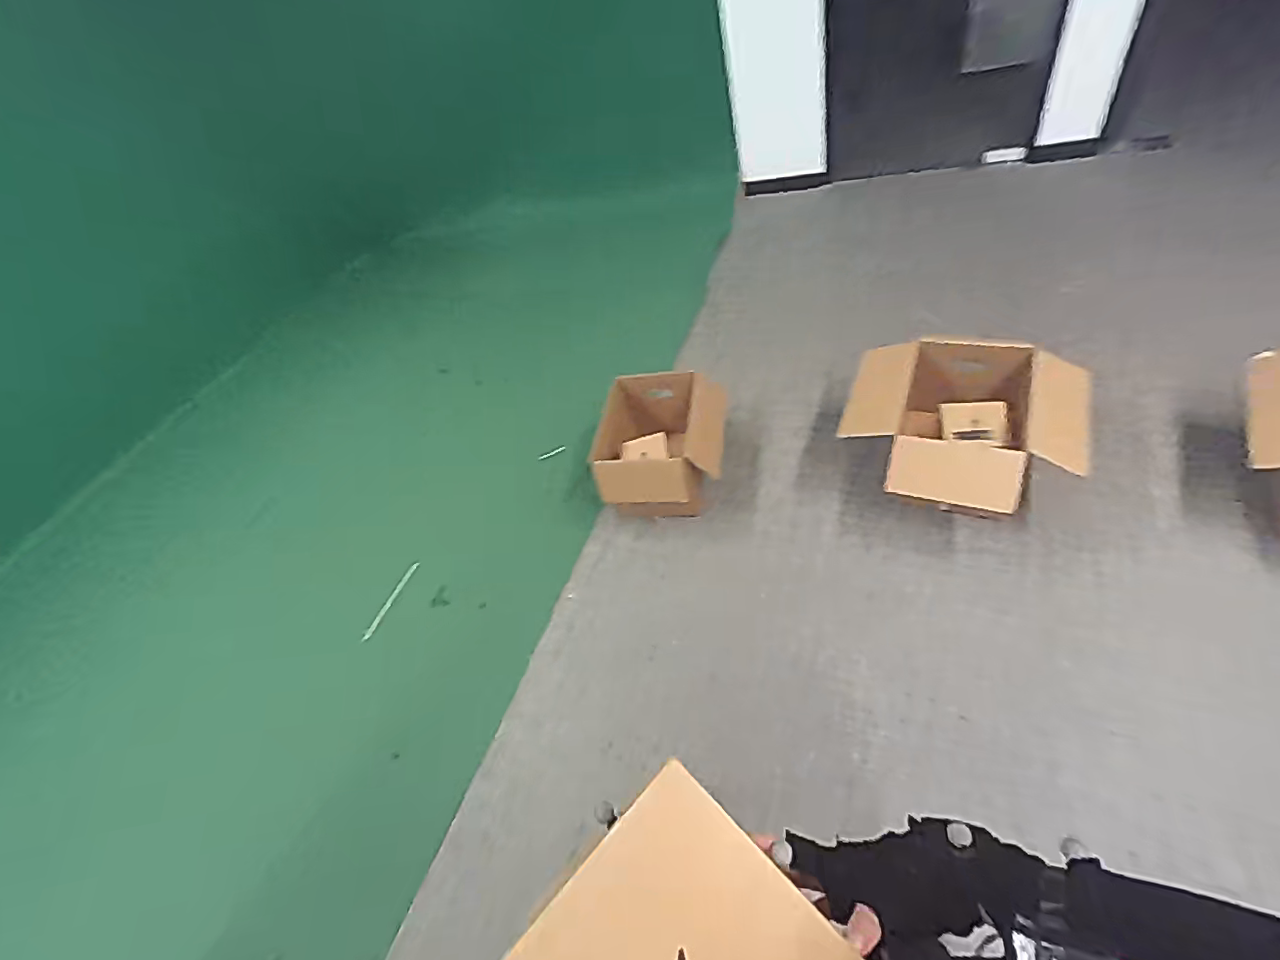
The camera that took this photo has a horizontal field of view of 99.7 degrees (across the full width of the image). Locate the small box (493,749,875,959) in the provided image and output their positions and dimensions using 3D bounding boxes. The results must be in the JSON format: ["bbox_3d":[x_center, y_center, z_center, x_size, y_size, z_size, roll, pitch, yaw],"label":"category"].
[{"bbox_3d":[0.026,0.320,0.377,0.168,0.176,0.179,-41,72,-20],"label":"small box"}]
